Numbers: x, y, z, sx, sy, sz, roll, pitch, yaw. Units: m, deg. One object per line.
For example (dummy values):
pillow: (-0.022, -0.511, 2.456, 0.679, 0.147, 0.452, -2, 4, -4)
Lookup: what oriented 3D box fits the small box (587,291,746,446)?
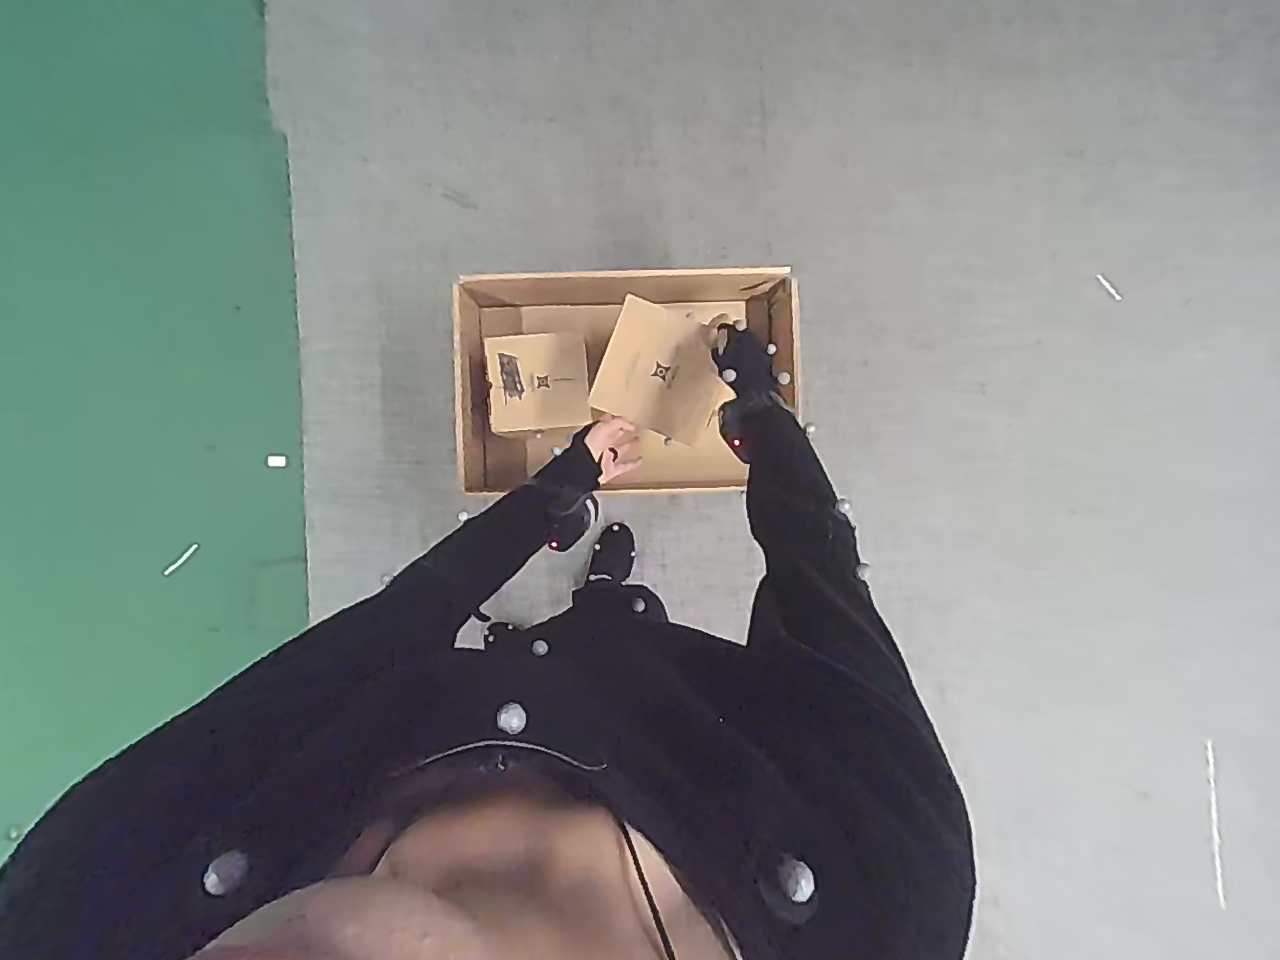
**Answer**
small box: (0.039, -0.166, 0.828, 0.179, 0.176, 0.168, 23, 99, 0)
